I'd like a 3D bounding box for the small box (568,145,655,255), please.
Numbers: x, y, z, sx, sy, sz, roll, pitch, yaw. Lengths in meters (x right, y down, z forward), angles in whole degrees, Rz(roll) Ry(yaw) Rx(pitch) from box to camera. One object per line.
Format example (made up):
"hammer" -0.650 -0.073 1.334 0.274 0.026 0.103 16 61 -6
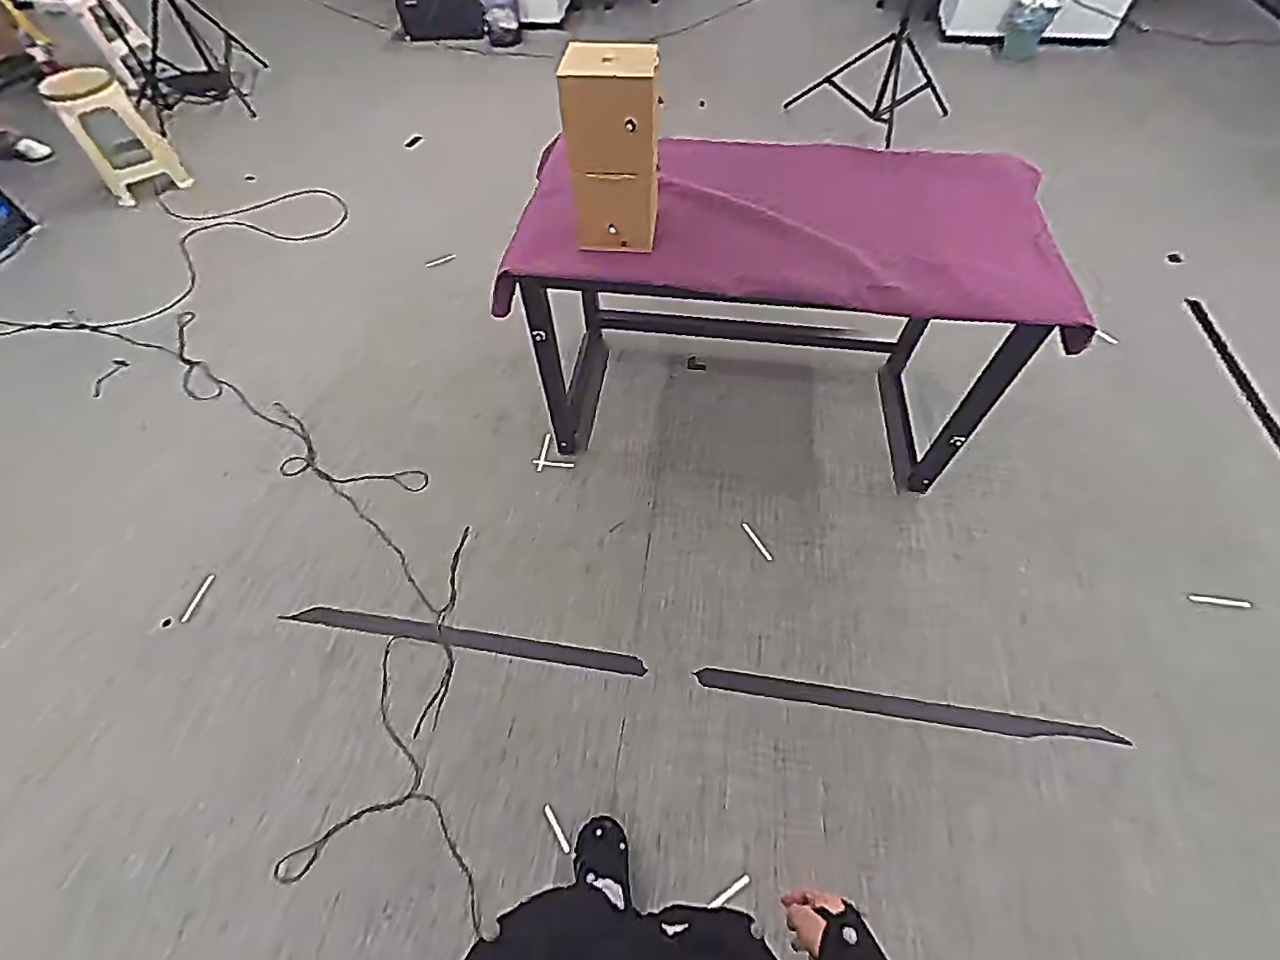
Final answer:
"small box" -0.057 -0.626 1.198 0.168 0.176 0.179 4 57 4

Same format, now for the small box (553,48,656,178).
"small box" -0.061 -0.717 1.064 0.179 0.176 0.168 2 55 4
